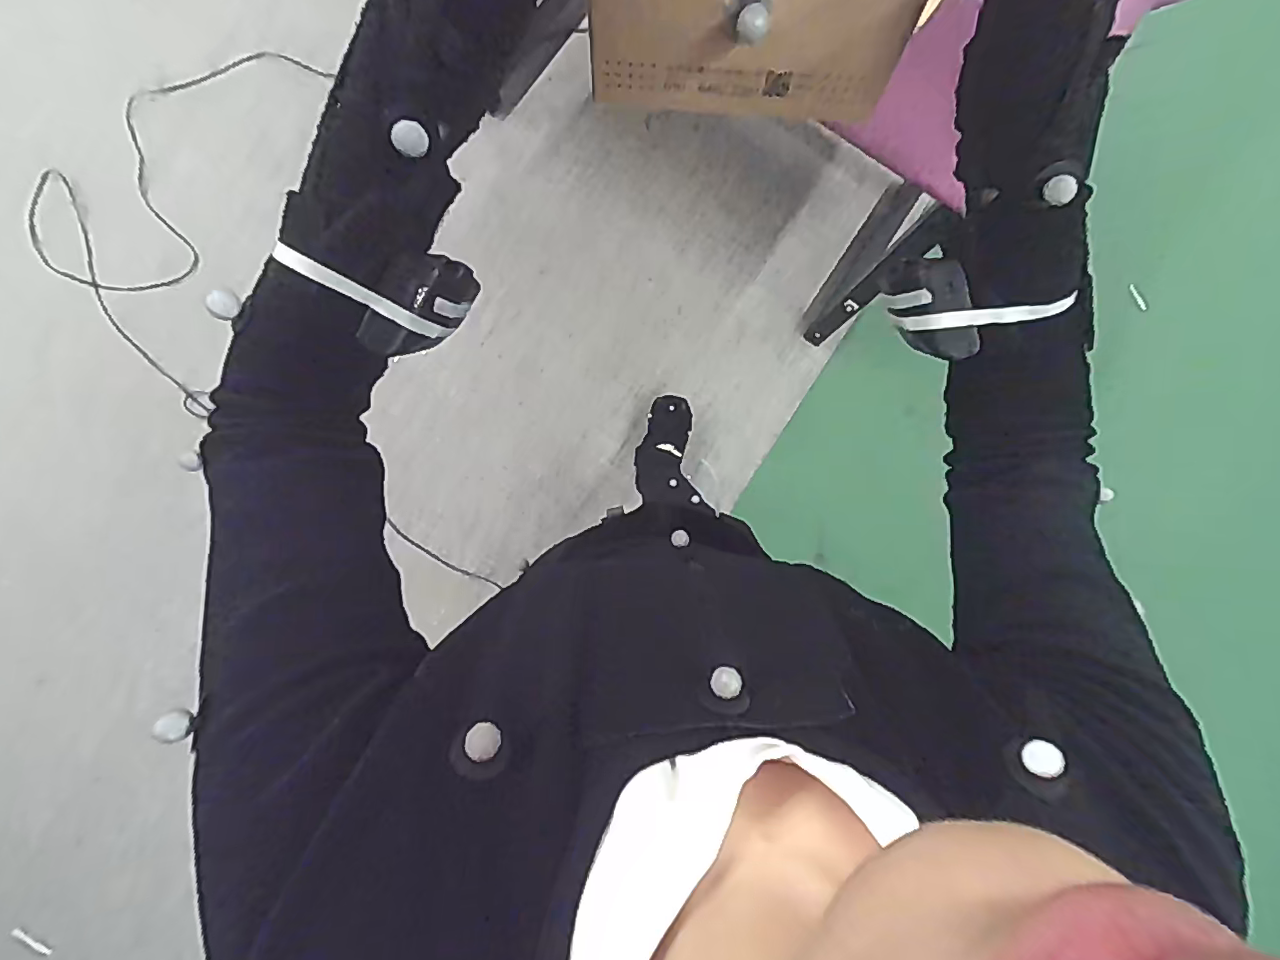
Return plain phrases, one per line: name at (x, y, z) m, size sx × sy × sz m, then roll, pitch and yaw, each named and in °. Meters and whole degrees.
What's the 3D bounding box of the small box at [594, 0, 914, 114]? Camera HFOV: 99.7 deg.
small box at (0.061, -0.327, 0.266) m, size 0.168 × 0.176 × 0.179 m, roll 3°, pitch 74°, yaw -1°
